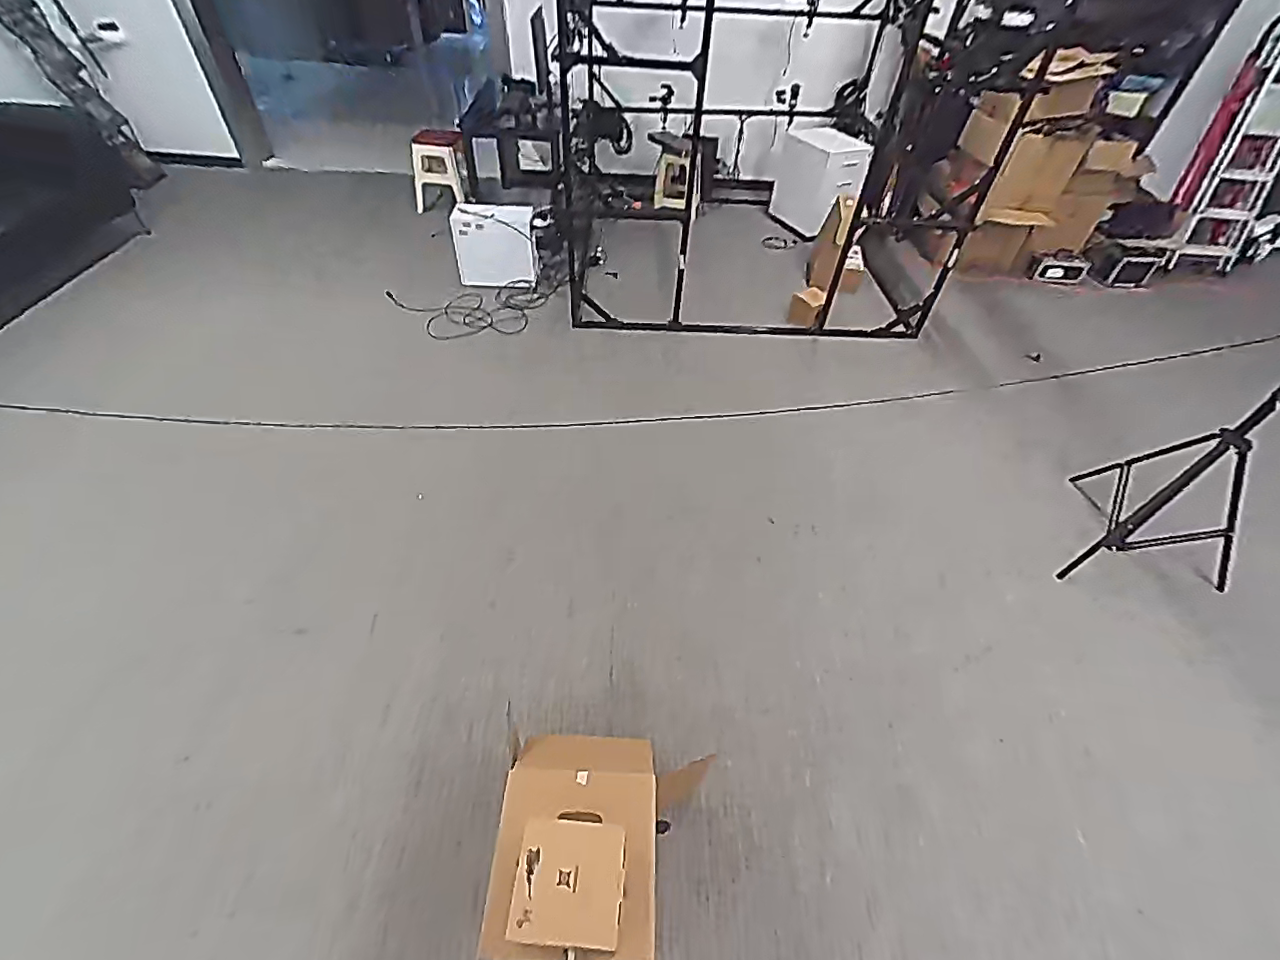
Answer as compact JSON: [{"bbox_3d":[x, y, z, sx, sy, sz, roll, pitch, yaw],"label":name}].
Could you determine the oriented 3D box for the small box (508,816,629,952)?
[{"bbox_3d":[-0.117,0.710,0.948,0.179,0.176,0.168,6,48,1],"label":"small box"}]
